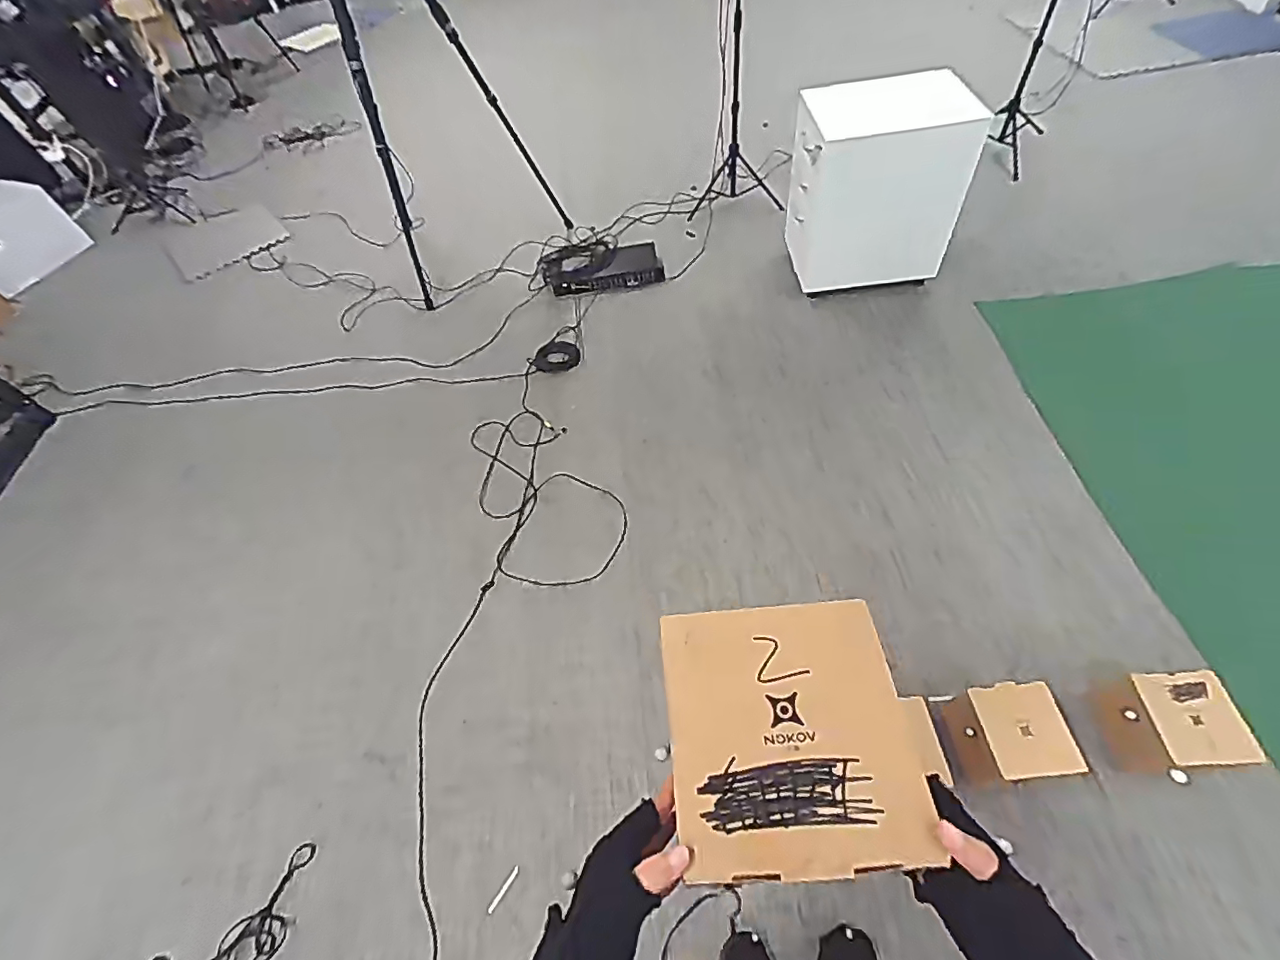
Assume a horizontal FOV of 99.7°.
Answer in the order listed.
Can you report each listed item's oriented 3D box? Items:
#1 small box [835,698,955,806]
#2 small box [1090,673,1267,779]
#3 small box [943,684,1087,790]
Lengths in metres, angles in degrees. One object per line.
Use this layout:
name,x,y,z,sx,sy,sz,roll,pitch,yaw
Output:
small box,0.535,0.589,1.166,0.168,0.176,0.179,-7,54,4
small box,1.112,0.520,1.139,0.168,0.176,0.179,-4,55,5
small box,0.788,0.556,1.159,0.168,0.176,0.179,-8,54,2
